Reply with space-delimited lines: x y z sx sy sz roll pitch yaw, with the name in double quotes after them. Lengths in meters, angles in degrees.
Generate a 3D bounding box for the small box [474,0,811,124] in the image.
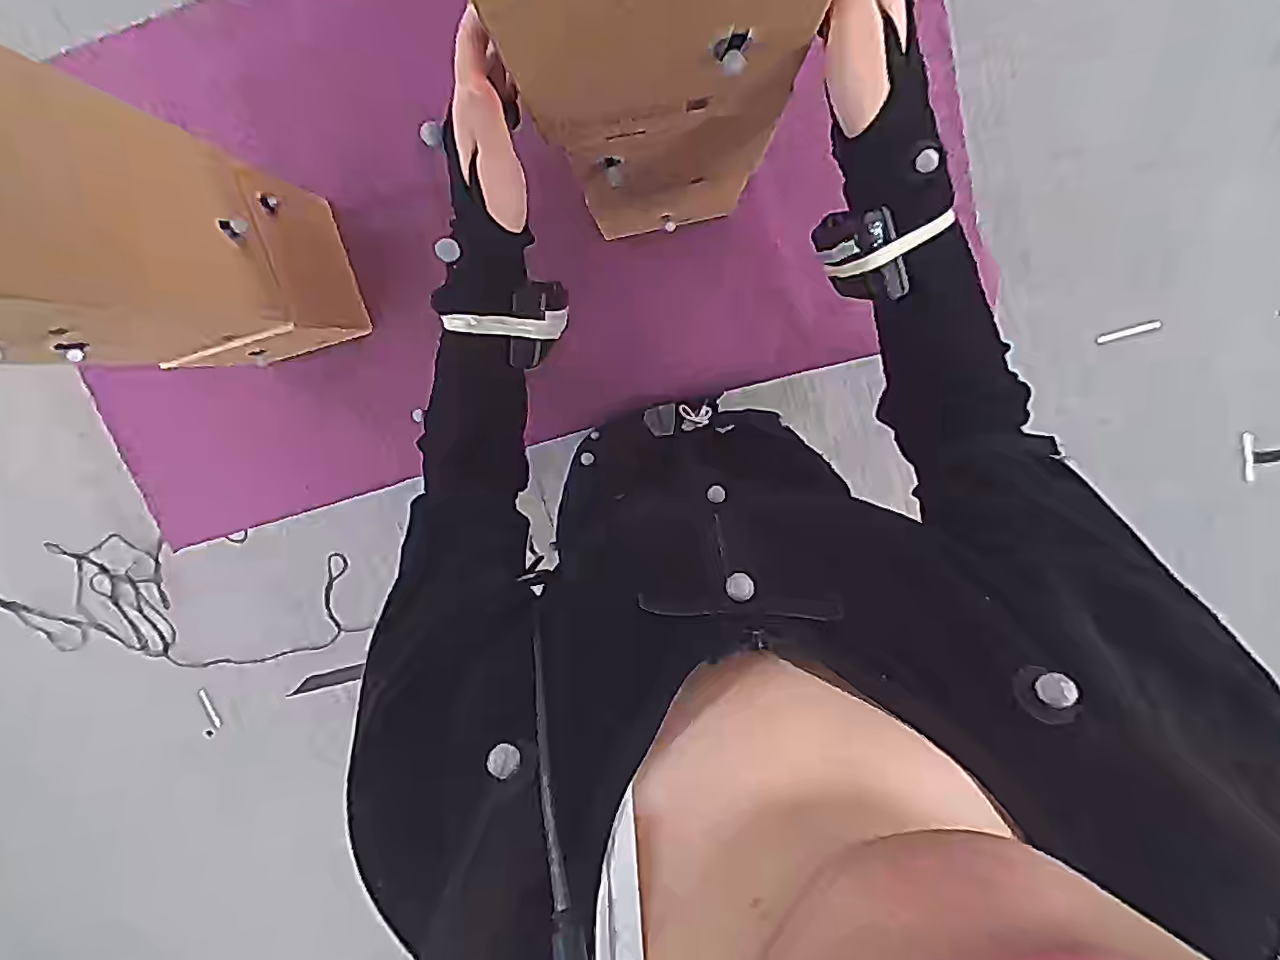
-0.001 -0.311 0.273 0.168 0.176 0.179 -8 101 3 "small box"

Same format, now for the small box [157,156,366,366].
-0.464 -0.243 0.643 0.168 0.176 0.179 -15 102 5 "small box"

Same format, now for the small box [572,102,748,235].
0.014 -0.390 0.590 0.168 0.176 0.179 -10 102 5 "small box"

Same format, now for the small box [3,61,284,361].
-0.472 -0.212 0.482 0.168 0.176 0.179 -15 101 6 "small box"
